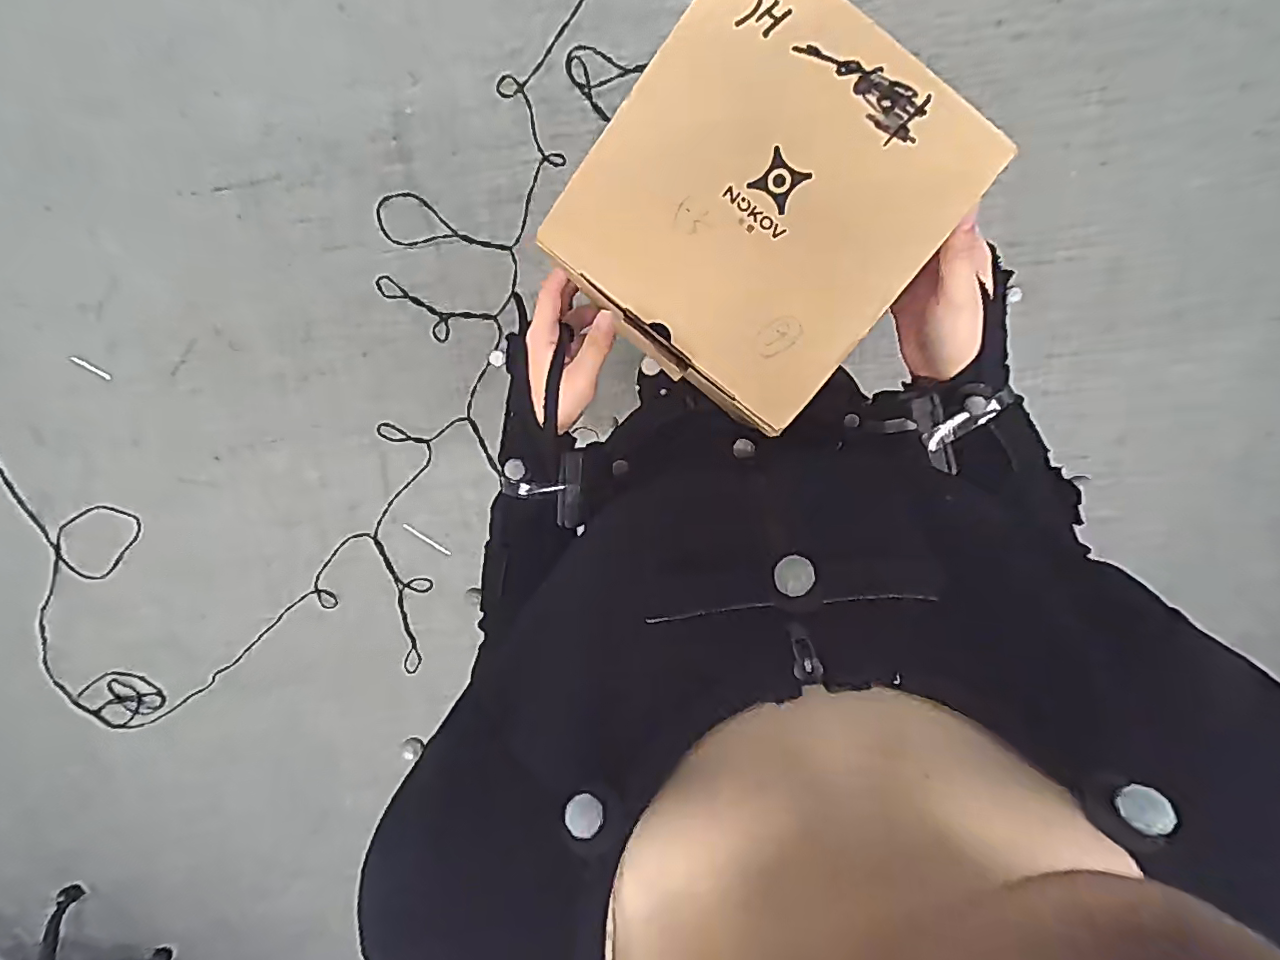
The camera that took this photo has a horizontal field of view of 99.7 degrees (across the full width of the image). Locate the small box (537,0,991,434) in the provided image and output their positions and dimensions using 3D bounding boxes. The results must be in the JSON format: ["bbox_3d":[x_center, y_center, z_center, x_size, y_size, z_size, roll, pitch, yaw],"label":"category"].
[{"bbox_3d":[0.066,-0.151,0.355,0.168,0.176,0.179,39,100,-2],"label":"small box"}]
